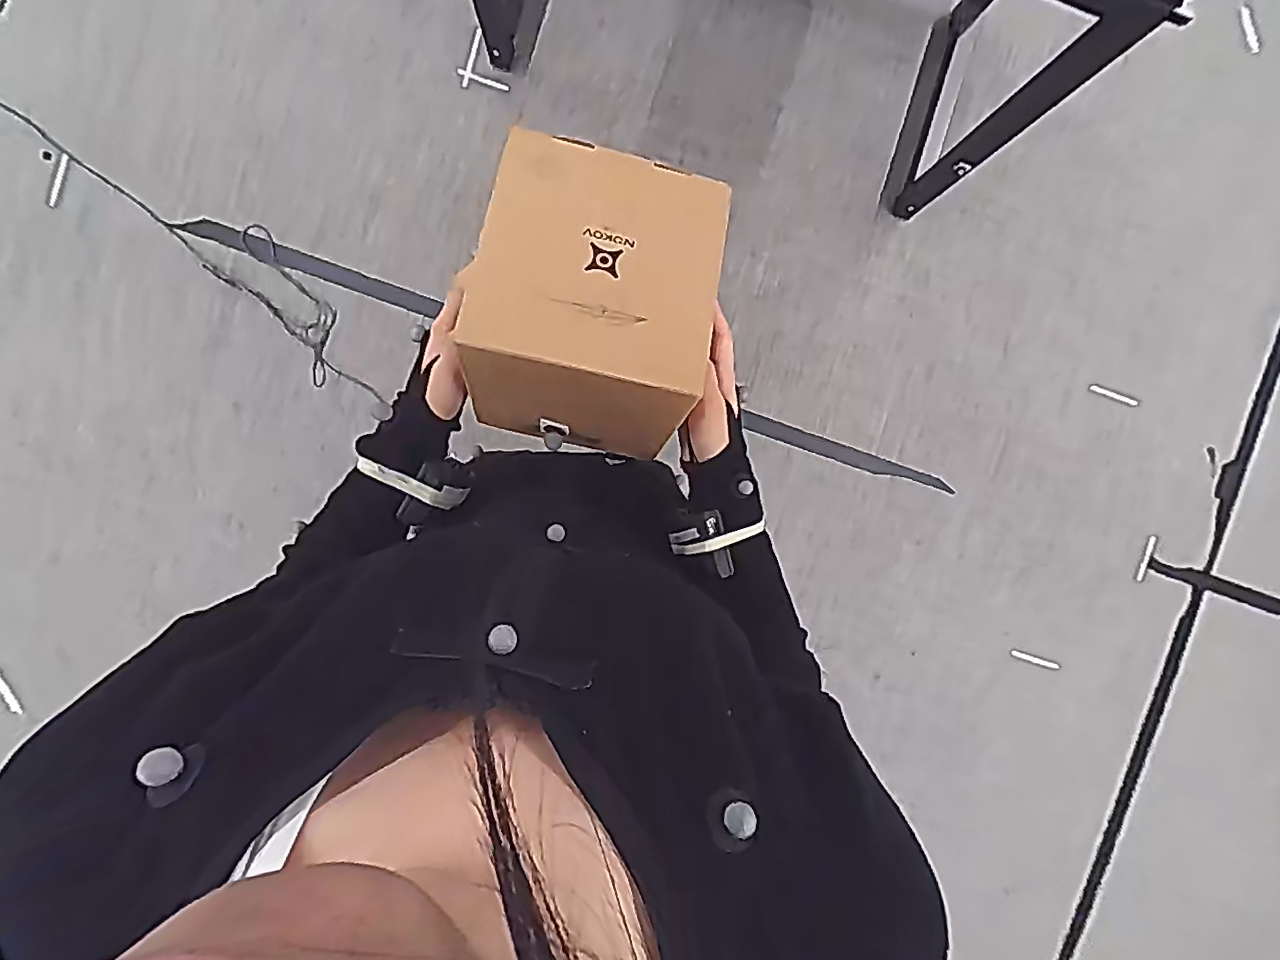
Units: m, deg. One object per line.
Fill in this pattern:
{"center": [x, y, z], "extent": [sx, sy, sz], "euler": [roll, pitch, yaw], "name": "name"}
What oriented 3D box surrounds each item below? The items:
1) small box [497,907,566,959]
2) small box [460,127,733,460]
{"center": [-0.298, 1.309, 1.471], "extent": [0.179, 0.176, 0.168], "euler": [6, 93, -5], "name": "small box"}
{"center": [-0.036, -0.132, 0.445], "extent": [0.168, 0.176, 0.179], "euler": [11, 75, -7], "name": "small box"}
